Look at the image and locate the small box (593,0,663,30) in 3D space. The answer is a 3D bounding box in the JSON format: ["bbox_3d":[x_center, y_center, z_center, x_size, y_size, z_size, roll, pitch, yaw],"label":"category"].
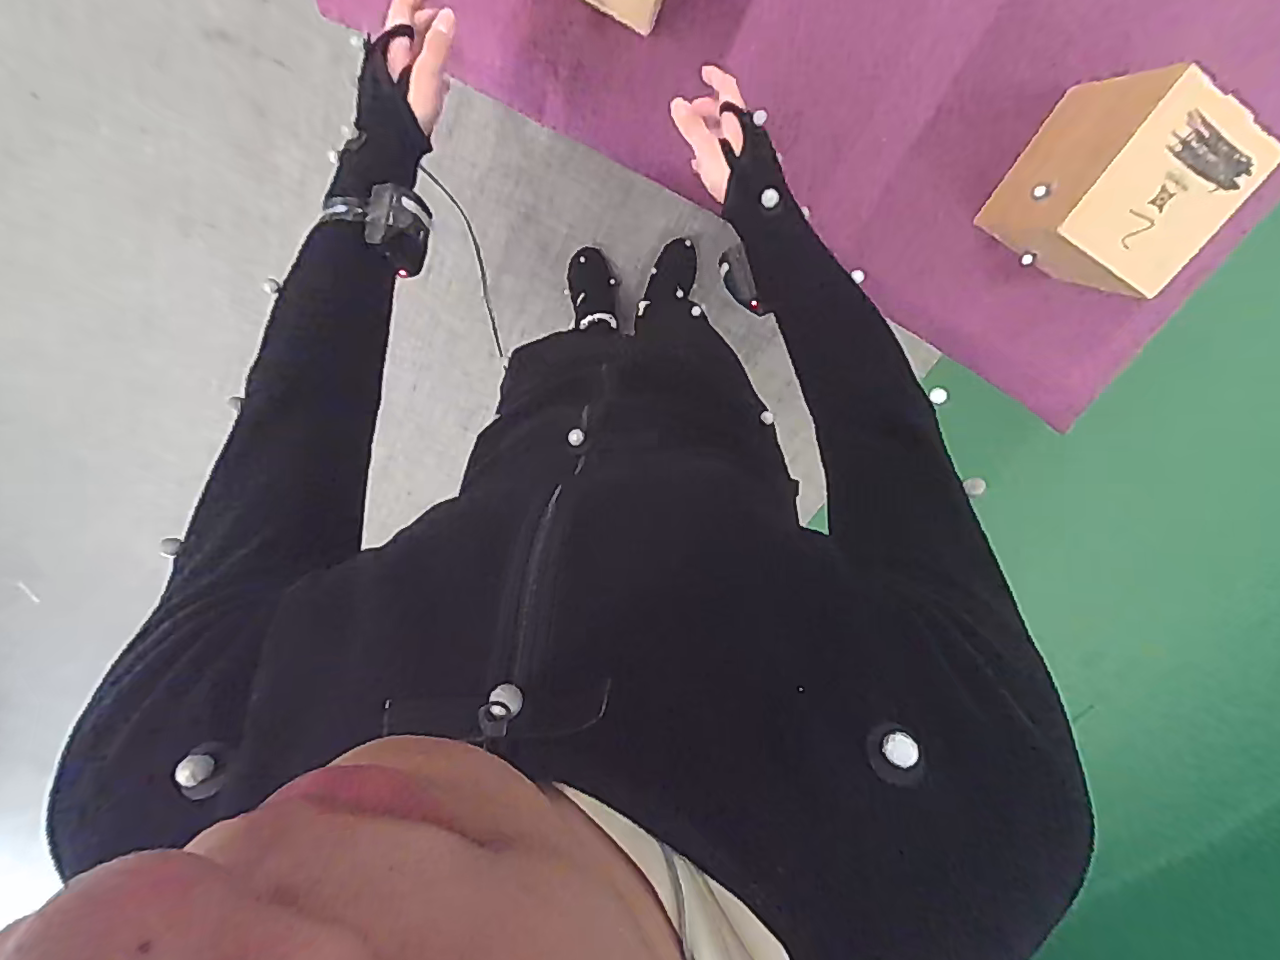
[{"bbox_3d":[-0.024,-0.581,0.513,0.168,0.176,0.179,21,114,-14],"label":"small box"}]
